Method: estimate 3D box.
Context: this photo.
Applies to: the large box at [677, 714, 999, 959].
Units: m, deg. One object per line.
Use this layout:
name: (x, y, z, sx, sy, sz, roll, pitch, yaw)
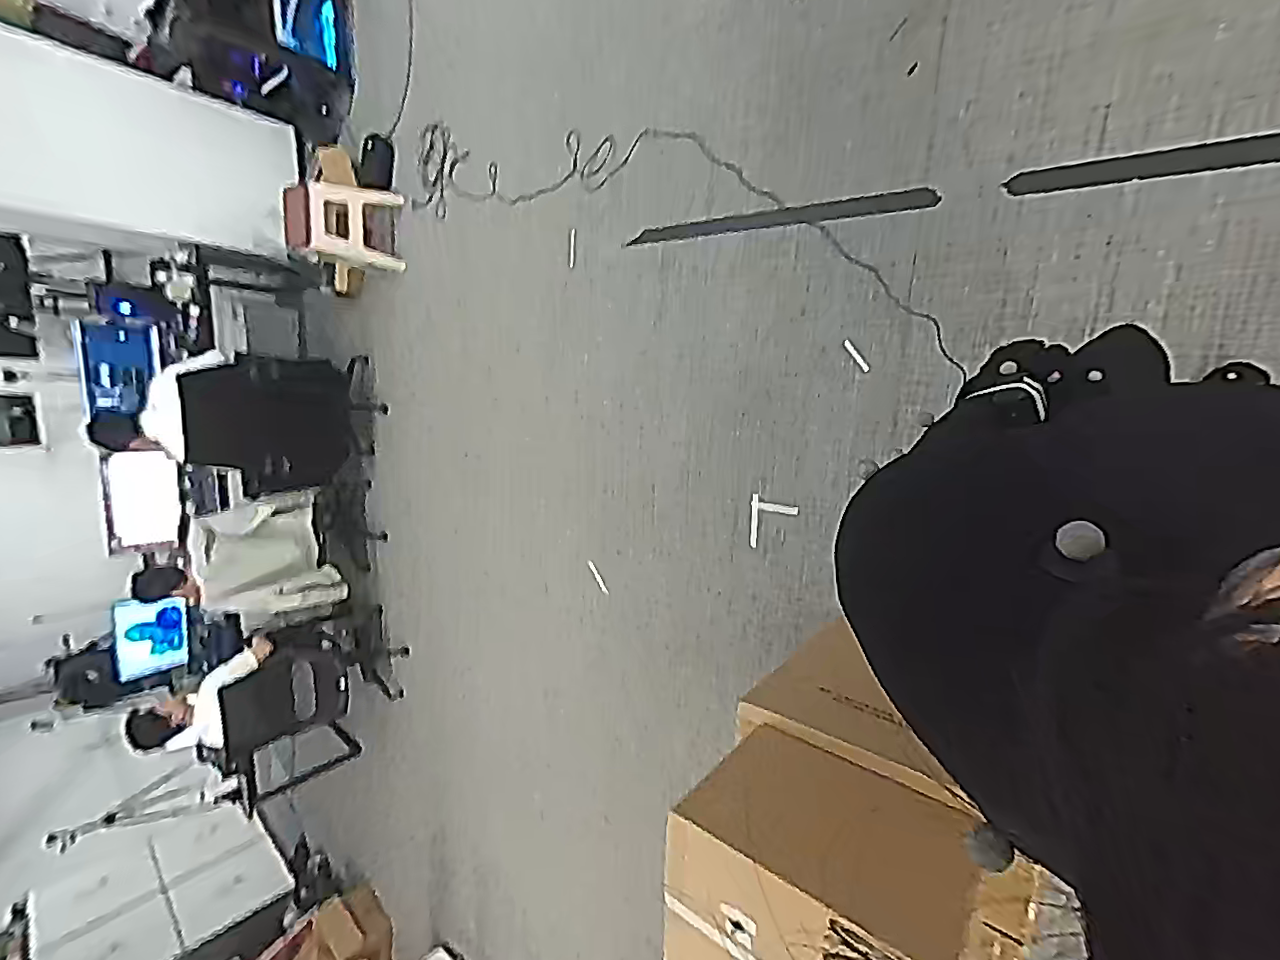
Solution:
large box: (0.312, 0.651, 0.875, 0.408, 0.320, 0.320, 9, 101, 41)
